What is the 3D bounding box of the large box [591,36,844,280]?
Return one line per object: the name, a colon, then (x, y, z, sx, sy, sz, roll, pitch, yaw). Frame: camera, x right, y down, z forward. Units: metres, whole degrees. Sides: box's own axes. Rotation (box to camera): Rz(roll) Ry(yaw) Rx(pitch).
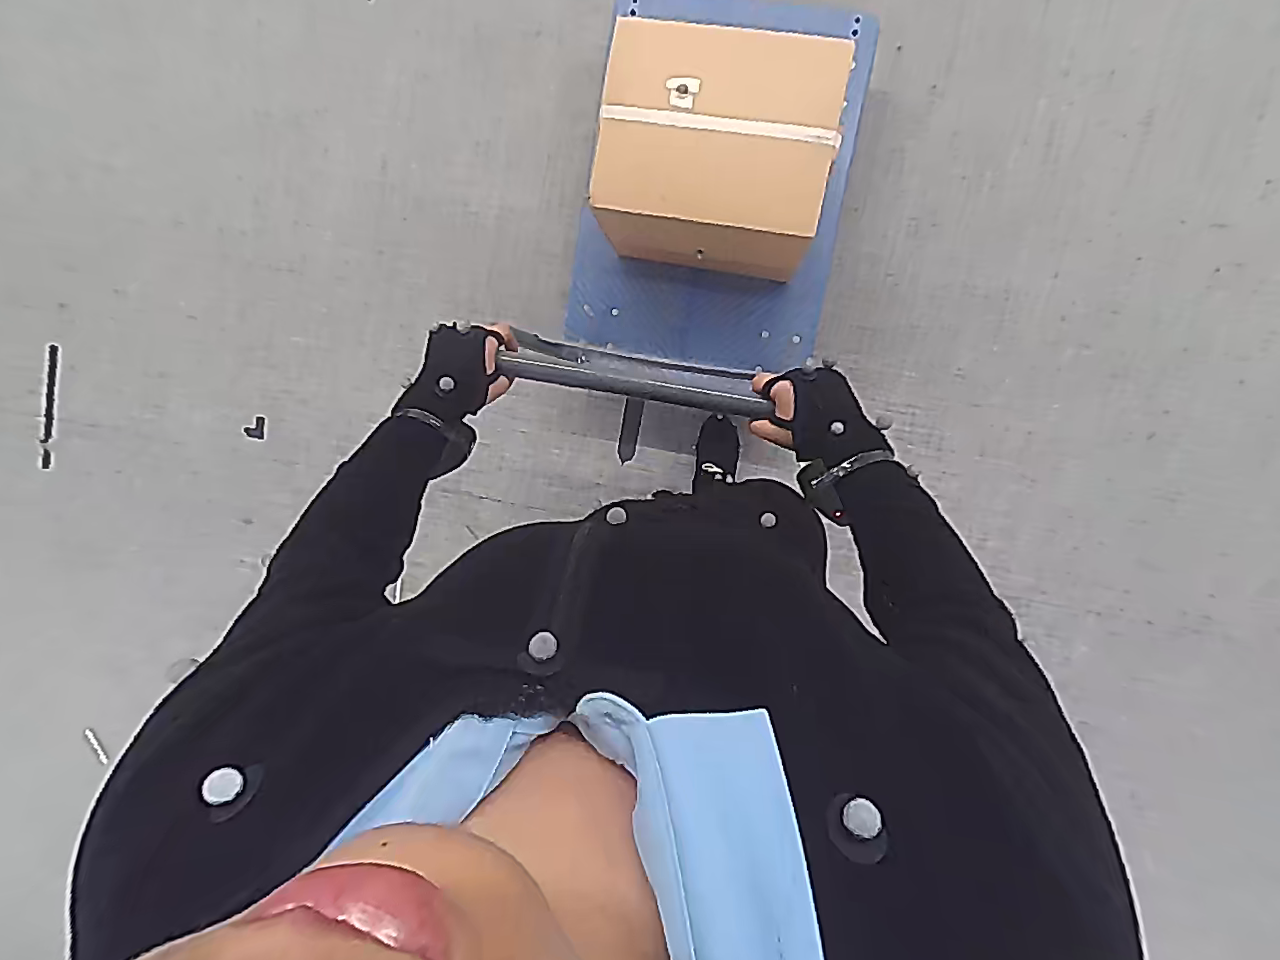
large box: (0.149, -0.617, 1.092, 0.408, 0.320, 0.320, 11, 97, 7)
